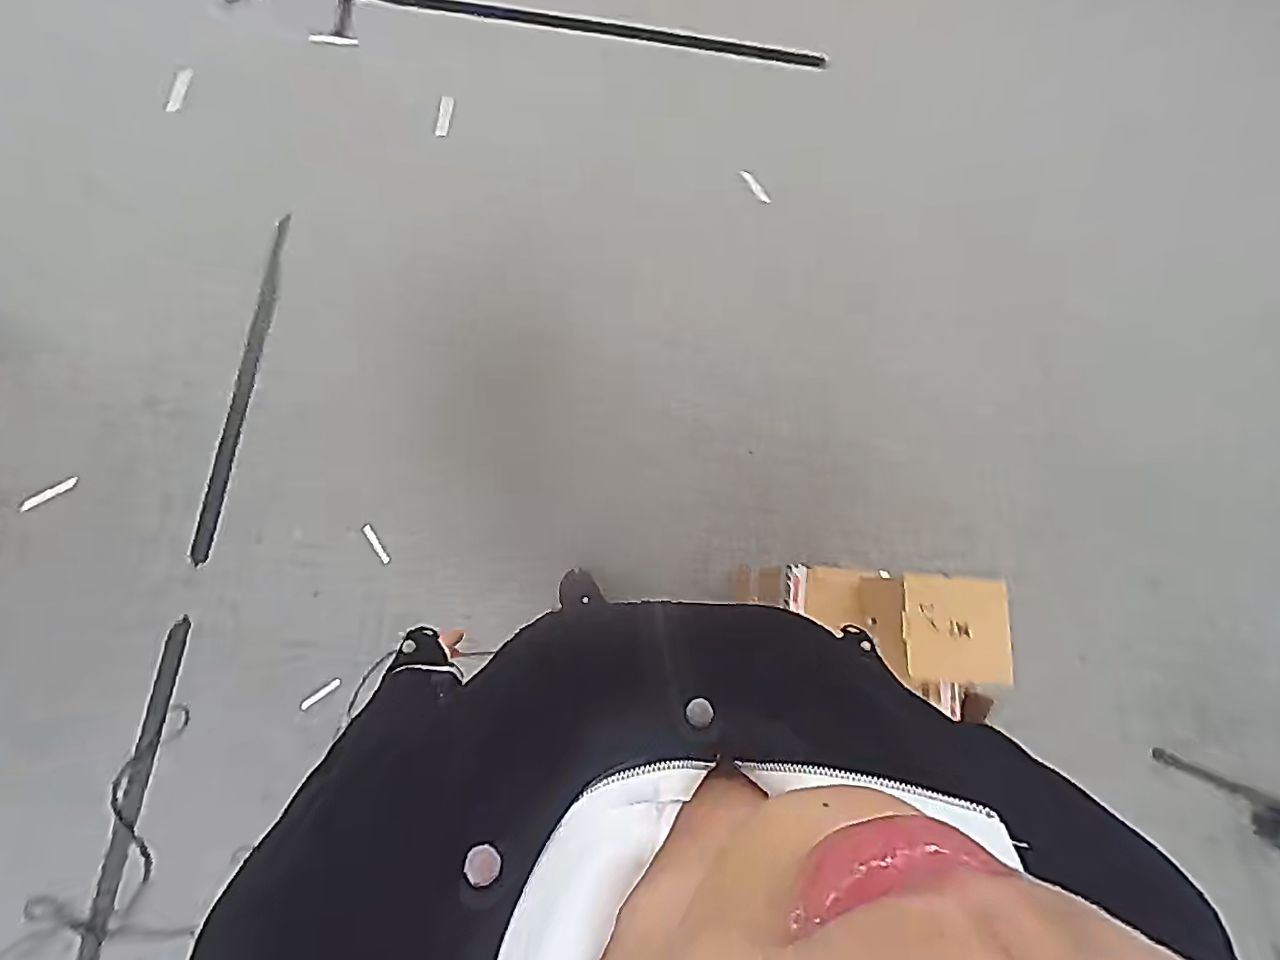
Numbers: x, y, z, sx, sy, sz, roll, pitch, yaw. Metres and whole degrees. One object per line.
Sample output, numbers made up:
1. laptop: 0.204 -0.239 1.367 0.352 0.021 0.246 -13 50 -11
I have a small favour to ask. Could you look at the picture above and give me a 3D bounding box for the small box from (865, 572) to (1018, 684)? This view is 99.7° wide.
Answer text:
1. small box: 0.519 0.254 0.952 0.179 0.176 0.168 5 77 0
